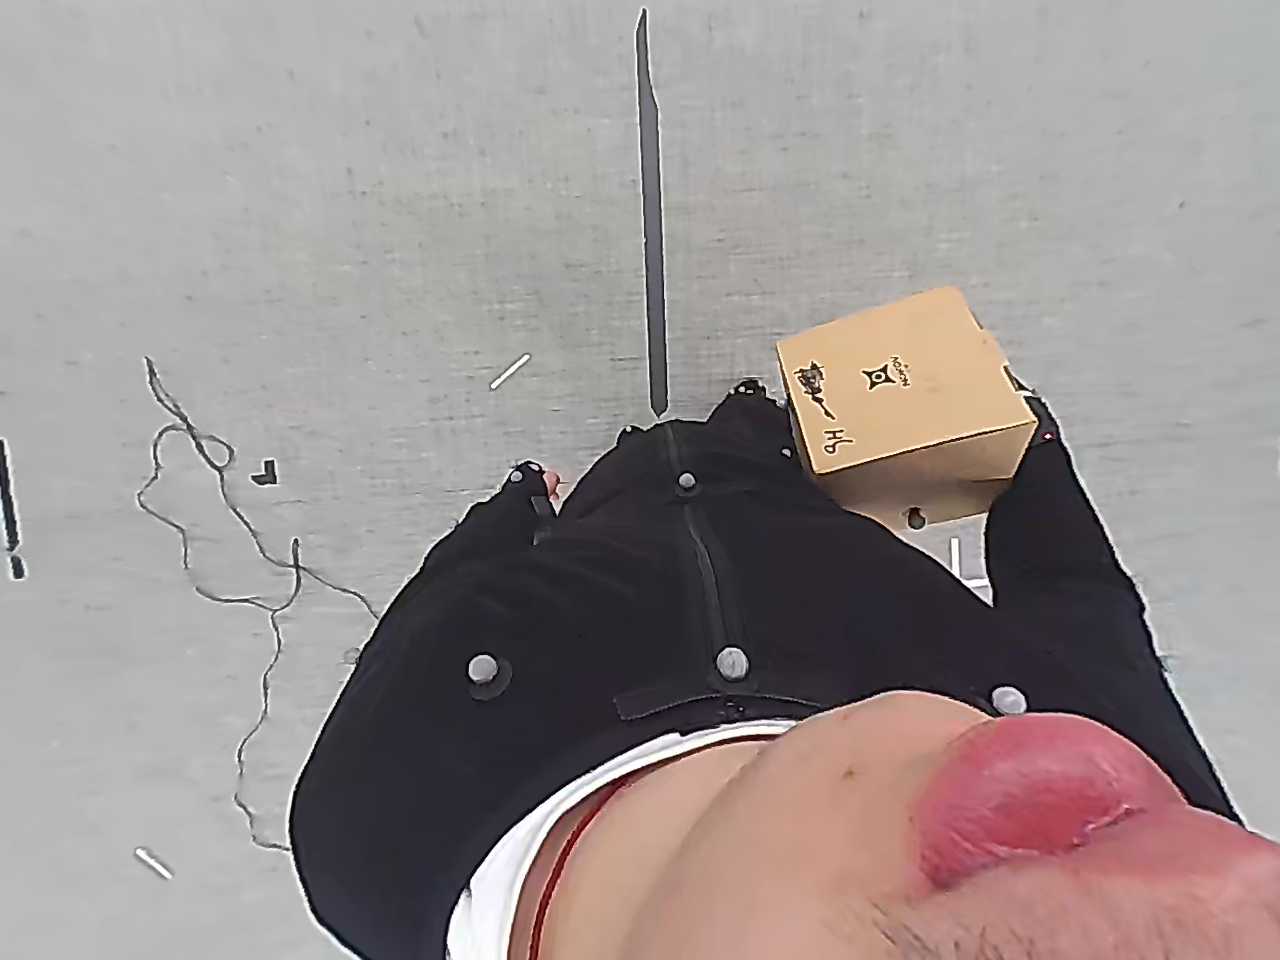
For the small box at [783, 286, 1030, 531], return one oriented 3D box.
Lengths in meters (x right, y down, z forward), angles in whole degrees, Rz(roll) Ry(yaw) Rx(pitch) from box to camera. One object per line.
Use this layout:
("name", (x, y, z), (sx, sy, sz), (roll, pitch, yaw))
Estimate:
("small box", (0.261, -0.063, 0.569), (0.179, 0.176, 0.168), (-14, 57, 15))
